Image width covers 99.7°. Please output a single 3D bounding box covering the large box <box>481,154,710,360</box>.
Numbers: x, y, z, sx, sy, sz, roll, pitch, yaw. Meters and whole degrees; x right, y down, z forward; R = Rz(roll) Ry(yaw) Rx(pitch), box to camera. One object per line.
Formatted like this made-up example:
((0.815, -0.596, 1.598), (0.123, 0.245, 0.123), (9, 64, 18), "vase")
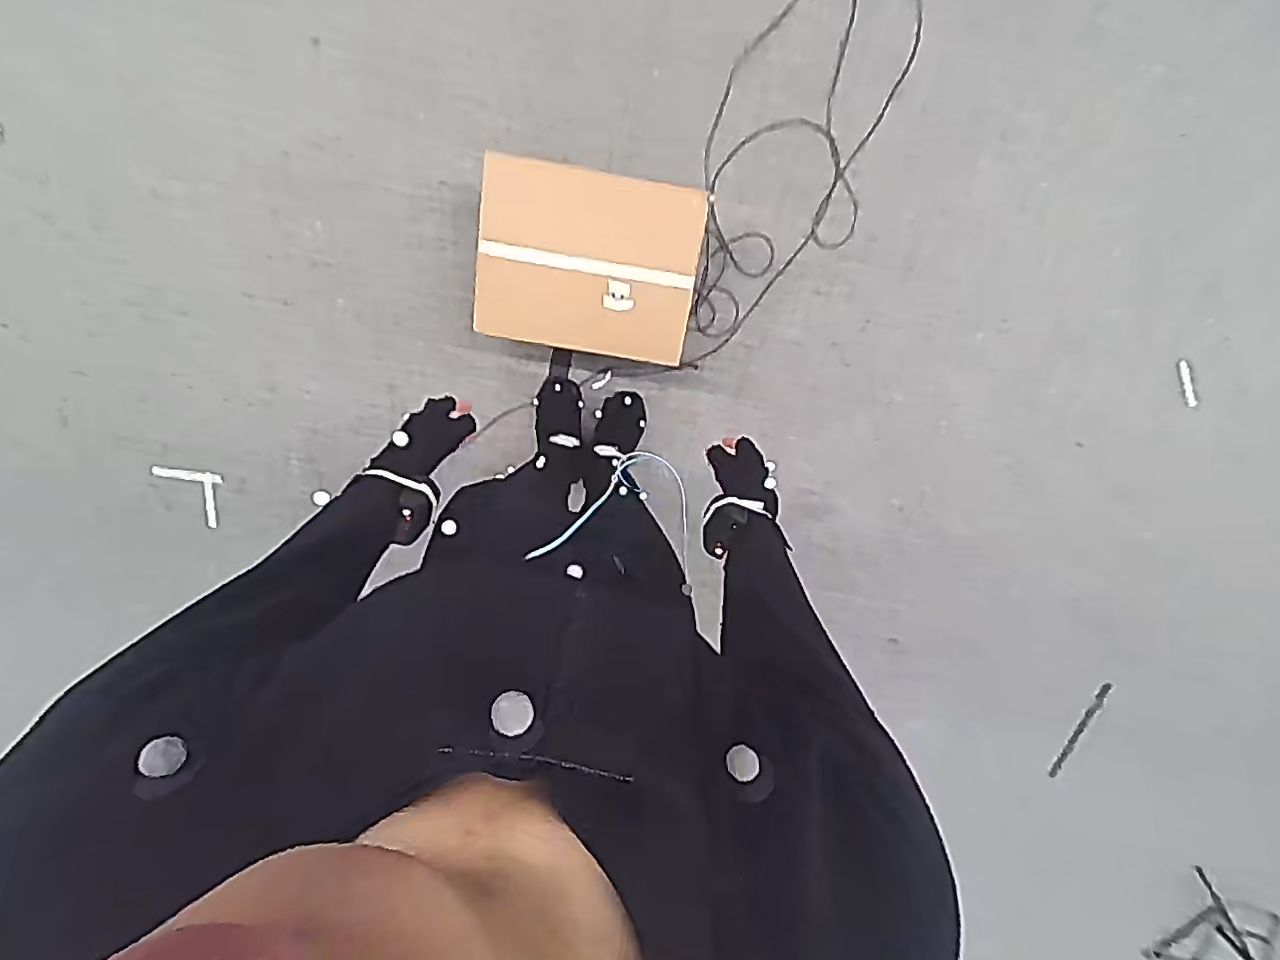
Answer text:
((-0.095, -0.452, 1.153), (0.408, 0.320, 0.320), (9, 109, -4), "large box")
